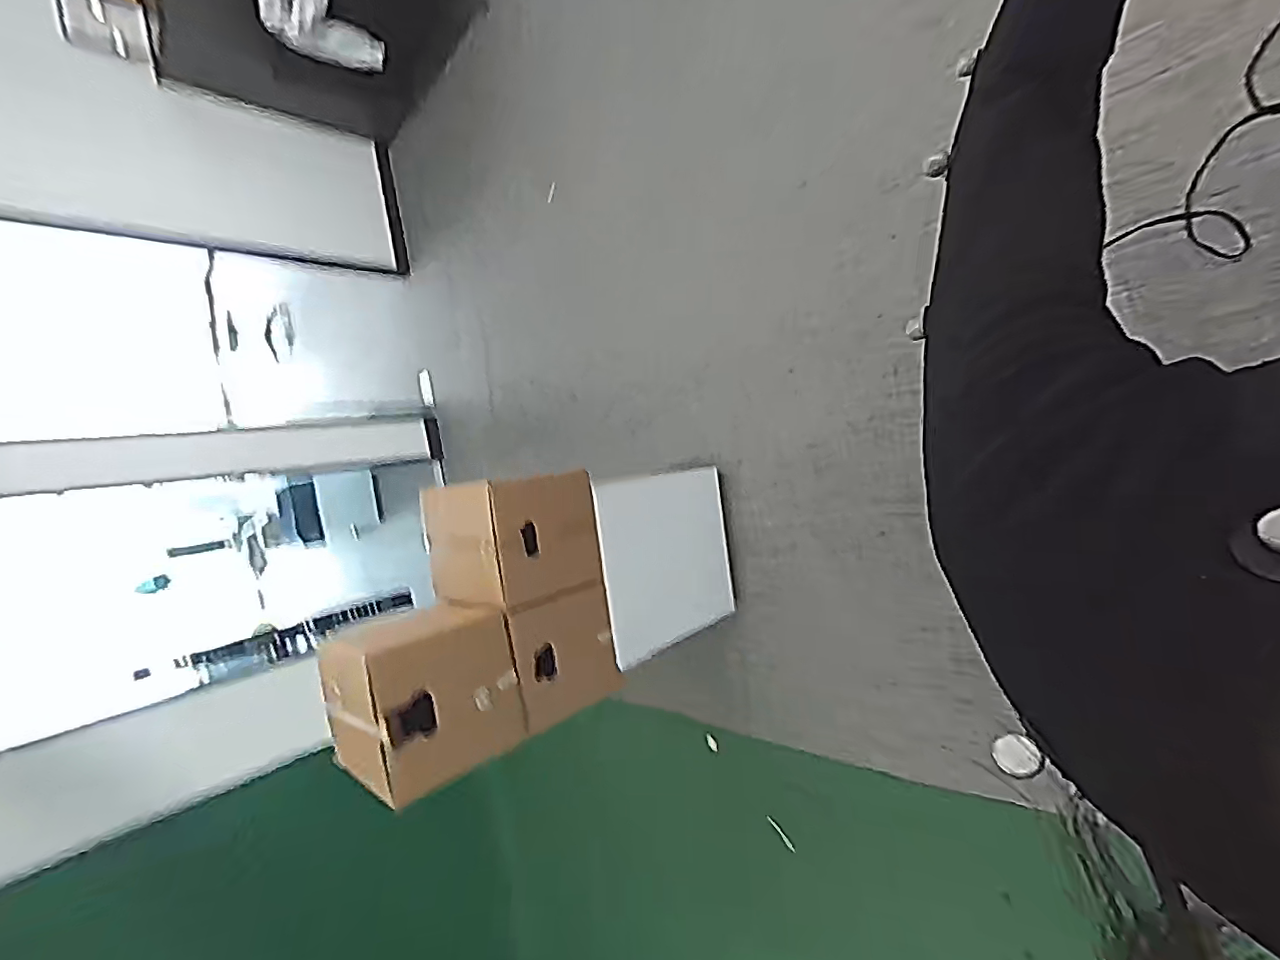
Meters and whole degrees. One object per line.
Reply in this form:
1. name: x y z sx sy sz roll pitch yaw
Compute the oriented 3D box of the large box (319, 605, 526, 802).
1. large box: -0.529 0.494 1.302 0.408 0.320 0.320 -12 88 47
